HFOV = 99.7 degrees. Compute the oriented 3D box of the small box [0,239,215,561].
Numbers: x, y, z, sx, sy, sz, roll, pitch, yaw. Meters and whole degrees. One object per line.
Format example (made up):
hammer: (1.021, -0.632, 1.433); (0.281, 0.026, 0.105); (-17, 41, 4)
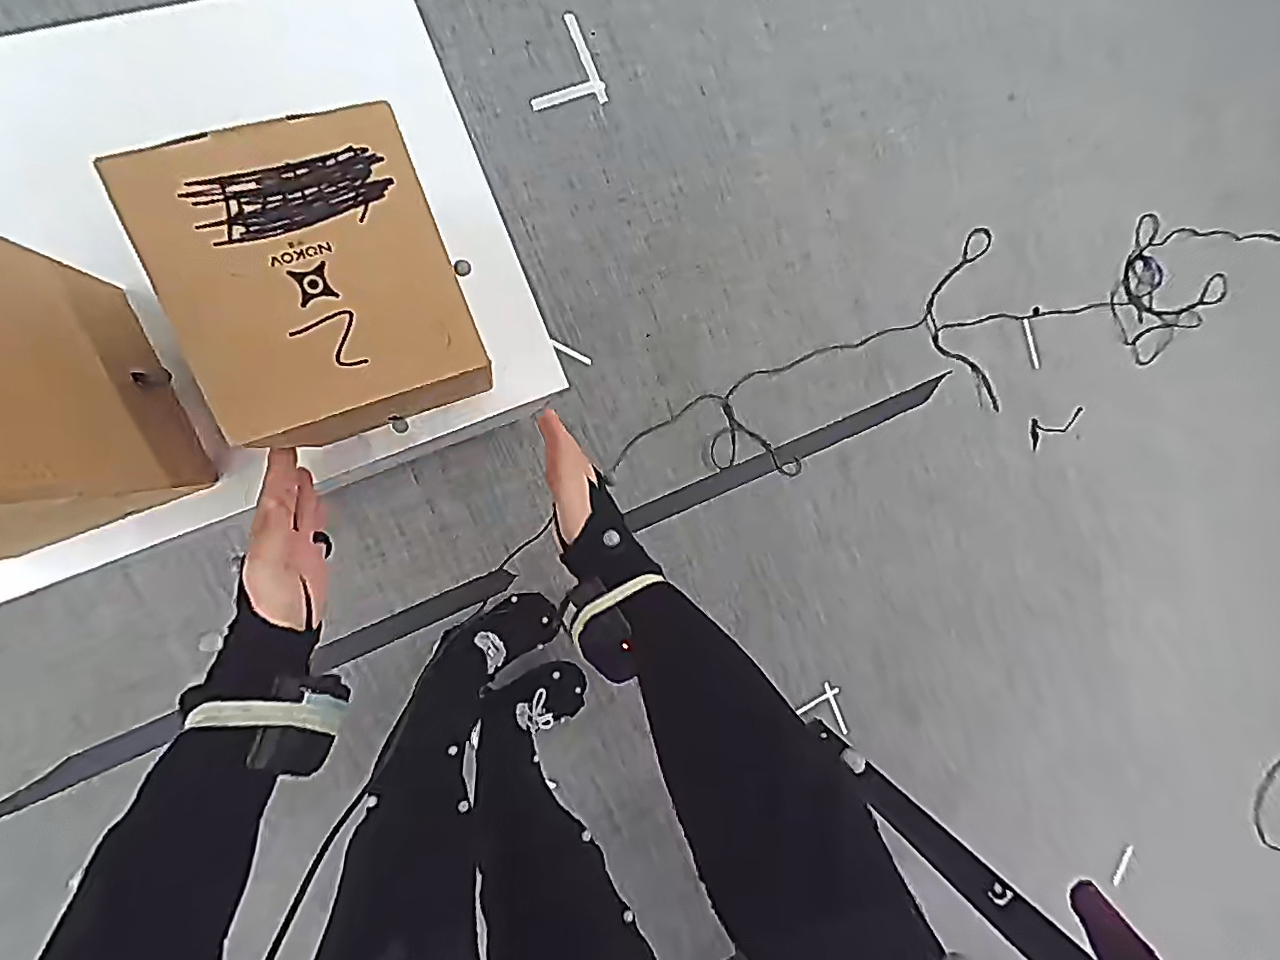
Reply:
small box: (-0.440, -0.041, 0.357); (0.168, 0.176, 0.179); (-23, 98, -13)
